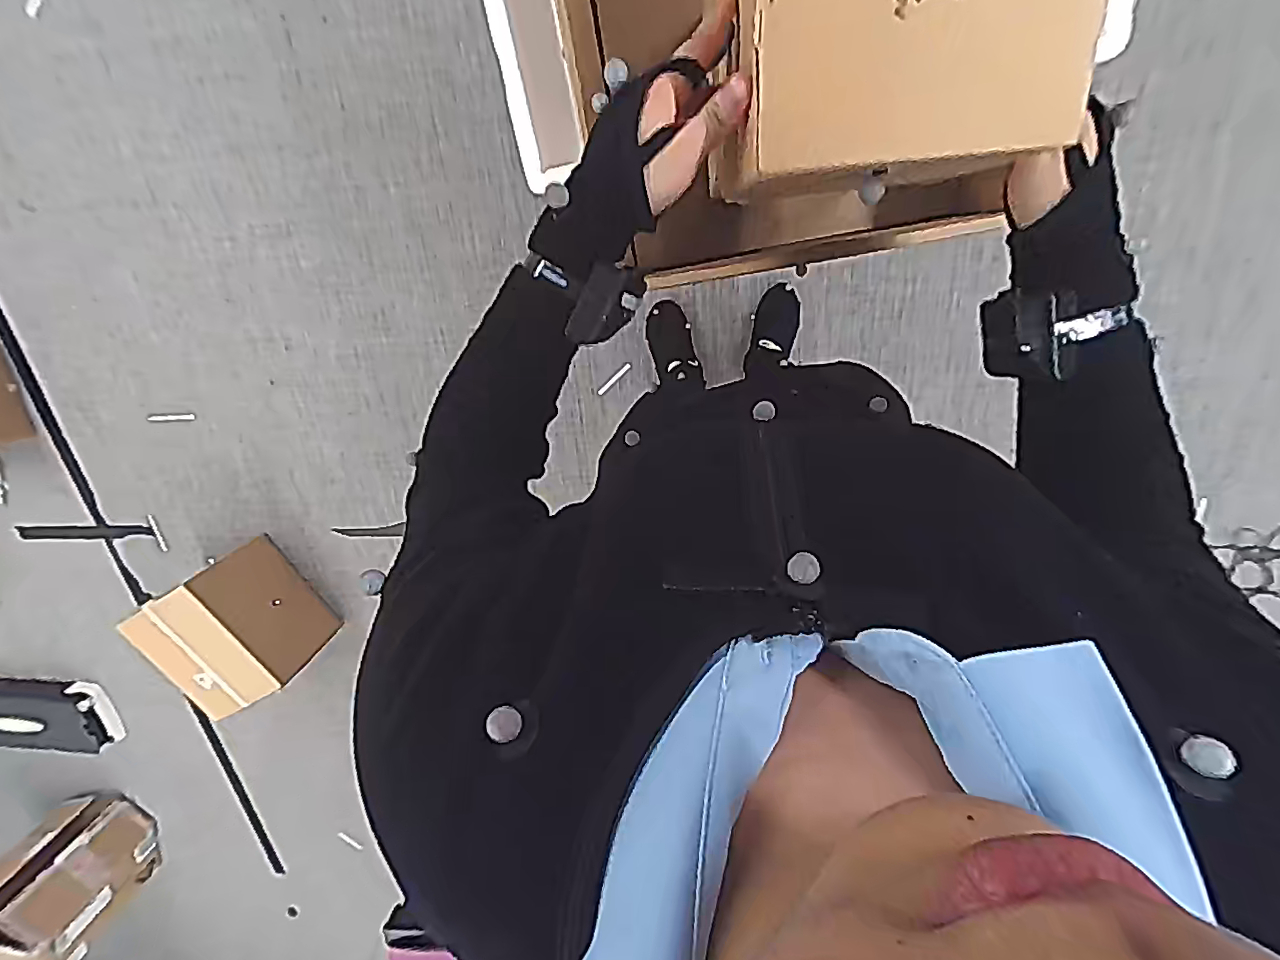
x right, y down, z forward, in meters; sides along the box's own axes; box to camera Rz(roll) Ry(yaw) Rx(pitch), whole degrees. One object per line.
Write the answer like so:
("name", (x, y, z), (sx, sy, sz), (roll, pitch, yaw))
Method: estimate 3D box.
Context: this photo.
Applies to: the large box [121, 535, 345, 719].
("large box", (-1.252, 0.455, 1.706), (0.320, 0.320, 0.408), (-28, 108, 16))
